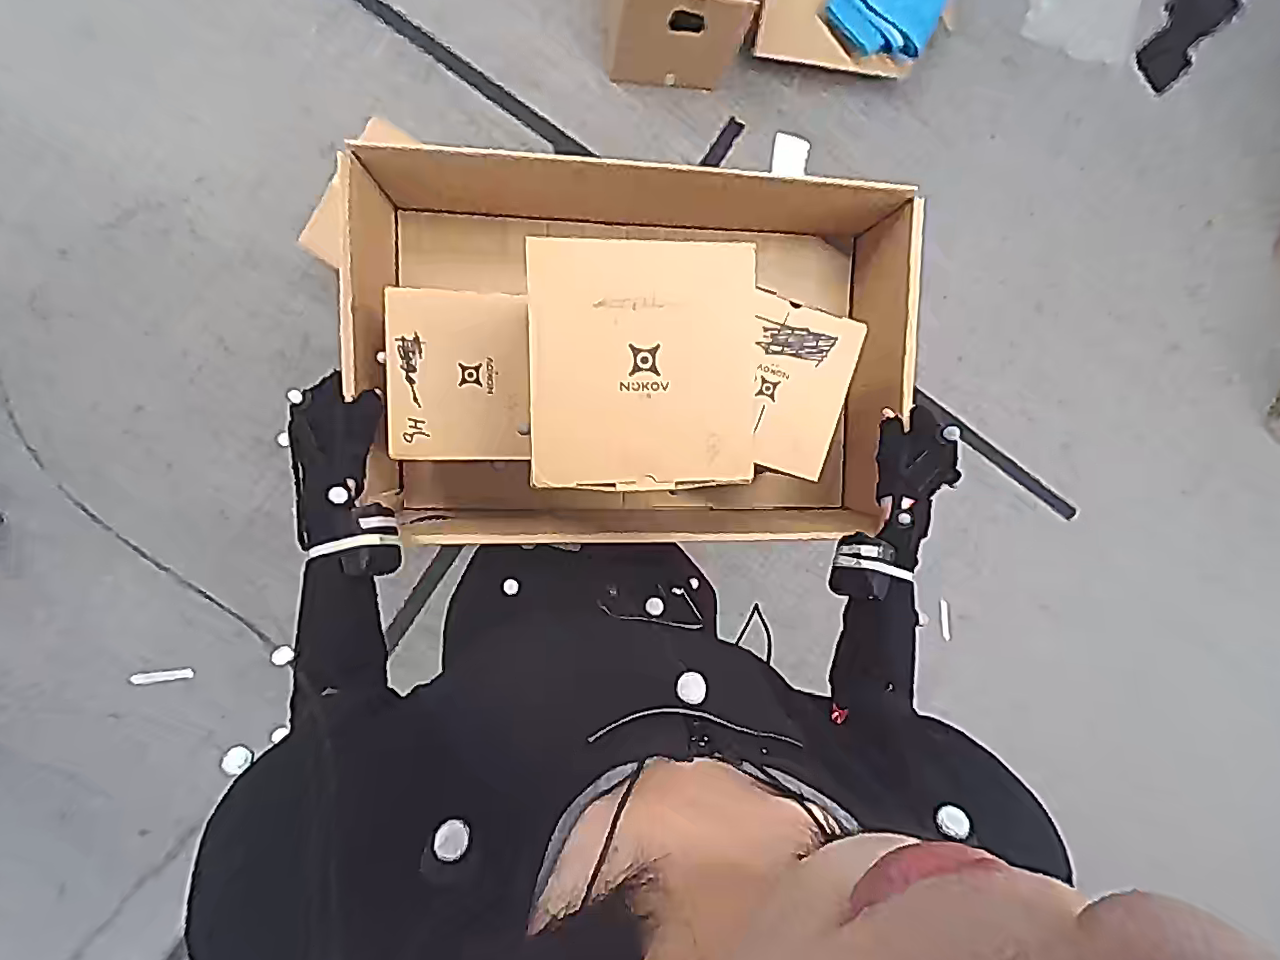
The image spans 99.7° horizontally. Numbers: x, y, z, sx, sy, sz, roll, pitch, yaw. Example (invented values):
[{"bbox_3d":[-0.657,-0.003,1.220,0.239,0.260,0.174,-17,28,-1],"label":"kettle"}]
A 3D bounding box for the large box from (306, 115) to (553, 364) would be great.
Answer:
[{"bbox_3d":[-0.455,-0.524,1.266,0.408,0.320,0.320,30,89,-10],"label":"large box"}]

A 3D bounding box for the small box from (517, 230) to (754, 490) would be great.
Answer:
[{"bbox_3d":[-0.009,-0.090,0.455,0.168,0.176,0.179,-3,95,-8],"label":"small box"}]
